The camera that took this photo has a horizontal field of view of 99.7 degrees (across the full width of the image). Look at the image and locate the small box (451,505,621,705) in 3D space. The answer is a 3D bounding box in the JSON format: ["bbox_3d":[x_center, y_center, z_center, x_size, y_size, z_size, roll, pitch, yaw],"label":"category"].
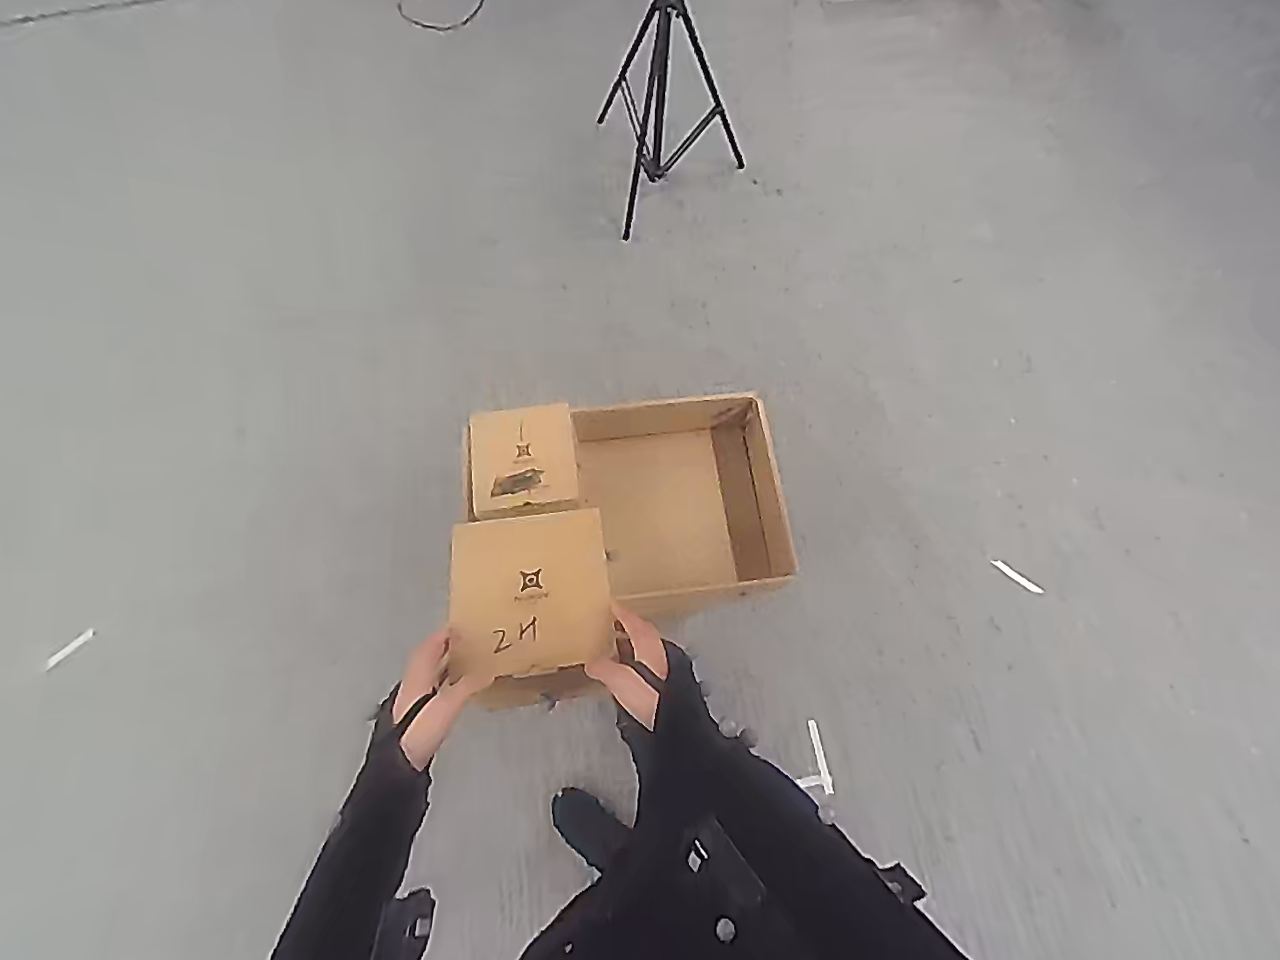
[{"bbox_3d":[-0.114,0.150,0.635,0.168,0.176,0.179,-6,60,-6],"label":"small box"}]

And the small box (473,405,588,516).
[{"bbox_3d":[-0.182,-0.006,0.933,0.168,0.176,0.179,-7,69,-4],"label":"small box"}]
